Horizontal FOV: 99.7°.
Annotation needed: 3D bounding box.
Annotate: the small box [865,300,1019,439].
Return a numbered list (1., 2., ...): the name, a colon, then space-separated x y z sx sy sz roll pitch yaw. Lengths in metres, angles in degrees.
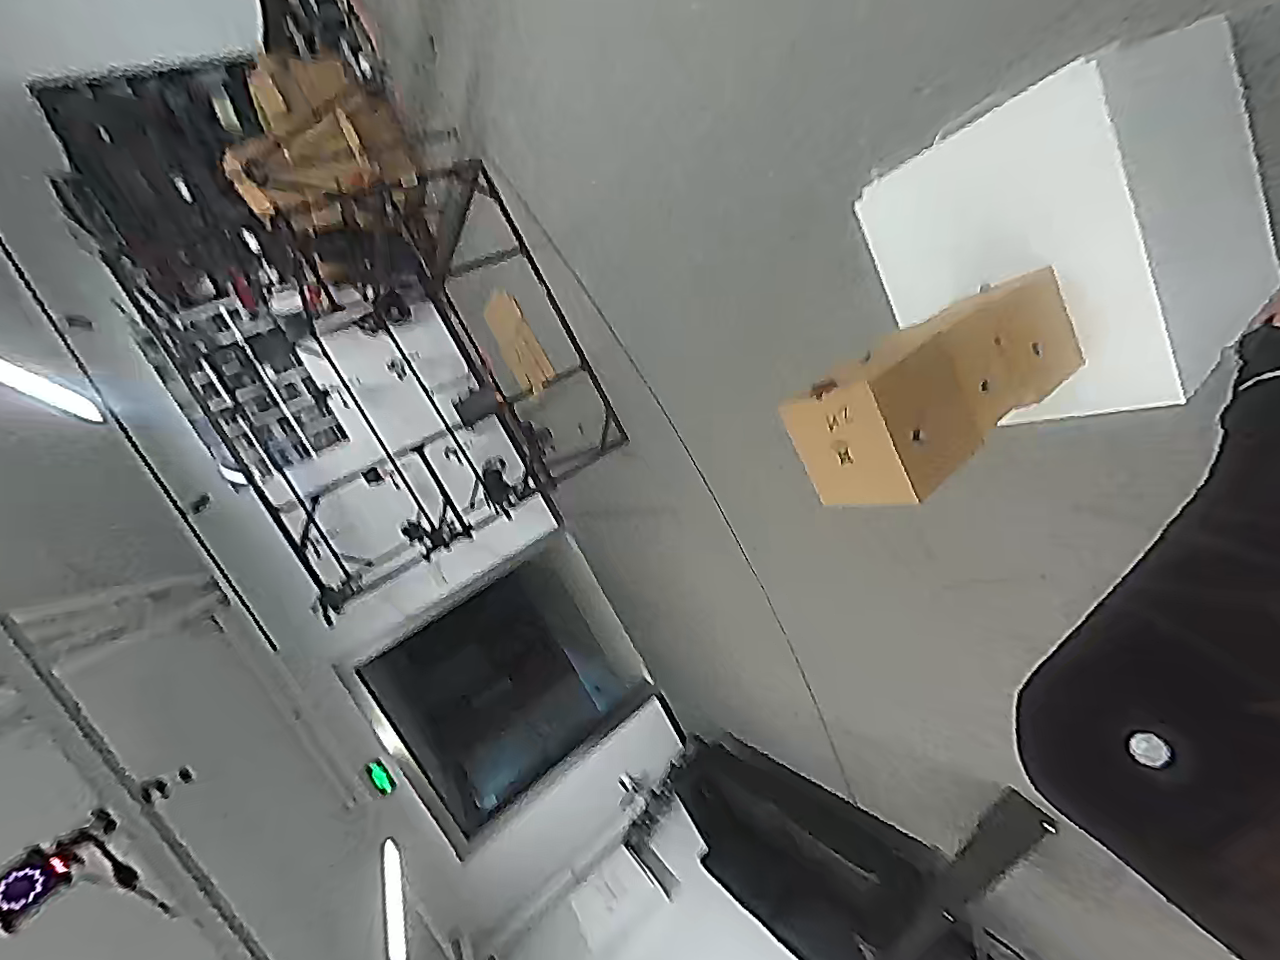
1. small box: 0.460 -0.159 0.855 0.168 0.176 0.179 63 156 -10

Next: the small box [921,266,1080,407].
1. small box: 0.596 -0.228 0.913 0.179 0.176 0.168 63 155 -9

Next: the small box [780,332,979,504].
1. small box: 0.341 -0.082 0.769 0.179 0.176 0.168 62 155 -10
